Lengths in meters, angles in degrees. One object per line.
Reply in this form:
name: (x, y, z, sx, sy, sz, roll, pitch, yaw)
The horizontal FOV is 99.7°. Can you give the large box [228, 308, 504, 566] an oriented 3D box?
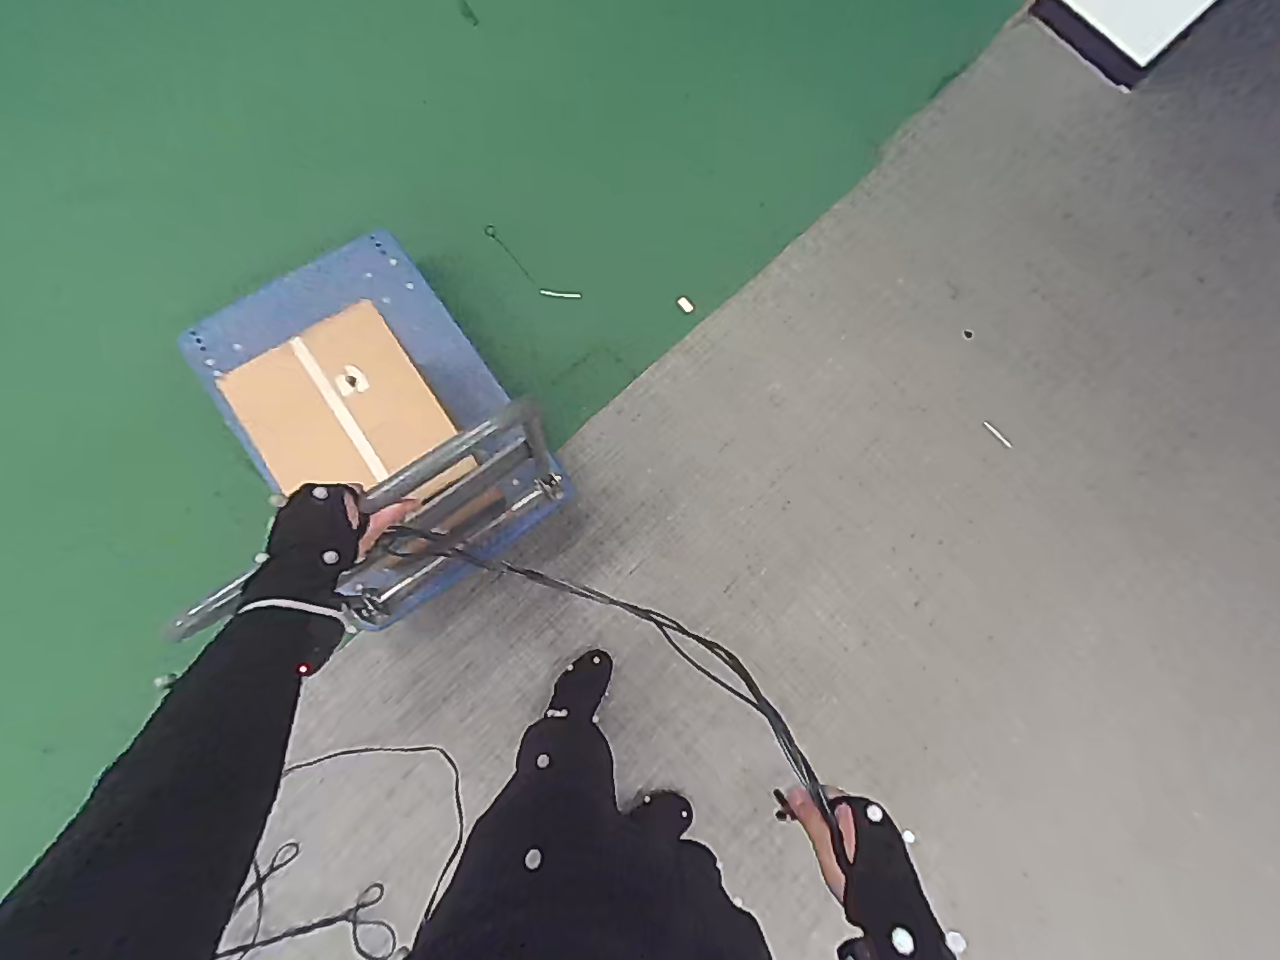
large box: (-0.549, -0.069, 1.160, 0.320, 0.320, 0.408, -33, 82, -12)
